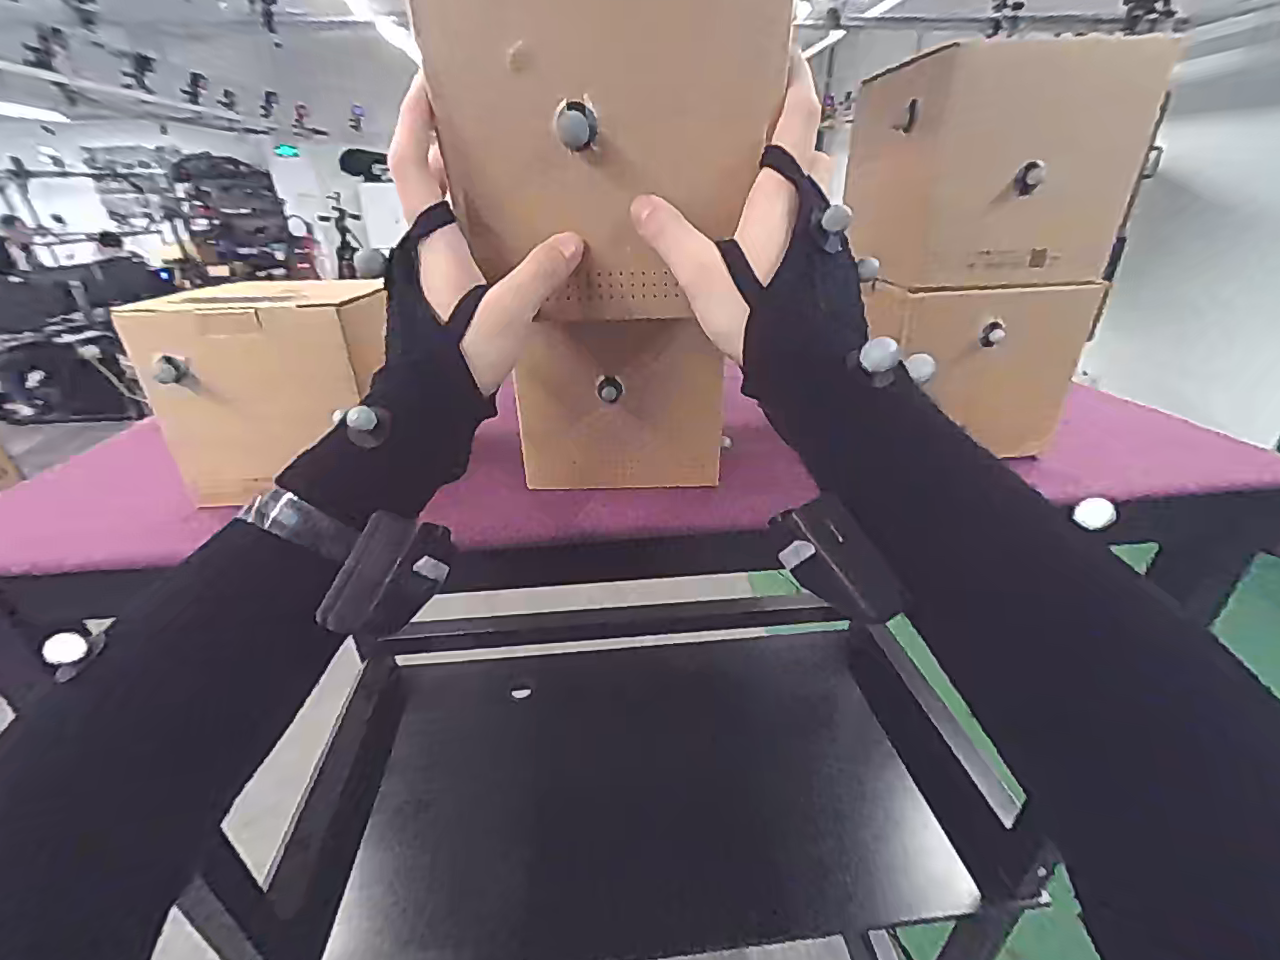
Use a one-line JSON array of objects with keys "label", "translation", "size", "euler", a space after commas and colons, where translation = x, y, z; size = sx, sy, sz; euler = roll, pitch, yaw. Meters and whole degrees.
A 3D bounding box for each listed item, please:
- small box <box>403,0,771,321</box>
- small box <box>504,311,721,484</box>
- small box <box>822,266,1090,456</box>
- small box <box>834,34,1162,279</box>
[{"label": "small box", "translation": [-0.016, -0.209, 0.347], "size": [0.179, 0.176, 0.168], "euler": [-2, 37, 4]}, {"label": "small box", "translation": [-0.020, -0.105, 0.532], "size": [0.179, 0.176, 0.168], "euler": [-2, 27, 1]}, {"label": "small box", "translation": [0.302, -0.131, 0.566], "size": [0.179, 0.176, 0.168], "euler": [-2, 28, -1]}, {"label": "small box", "translation": [0.295, -0.279, 0.496], "size": [0.168, 0.176, 0.179], "euler": [-3, 28, -1]}]
